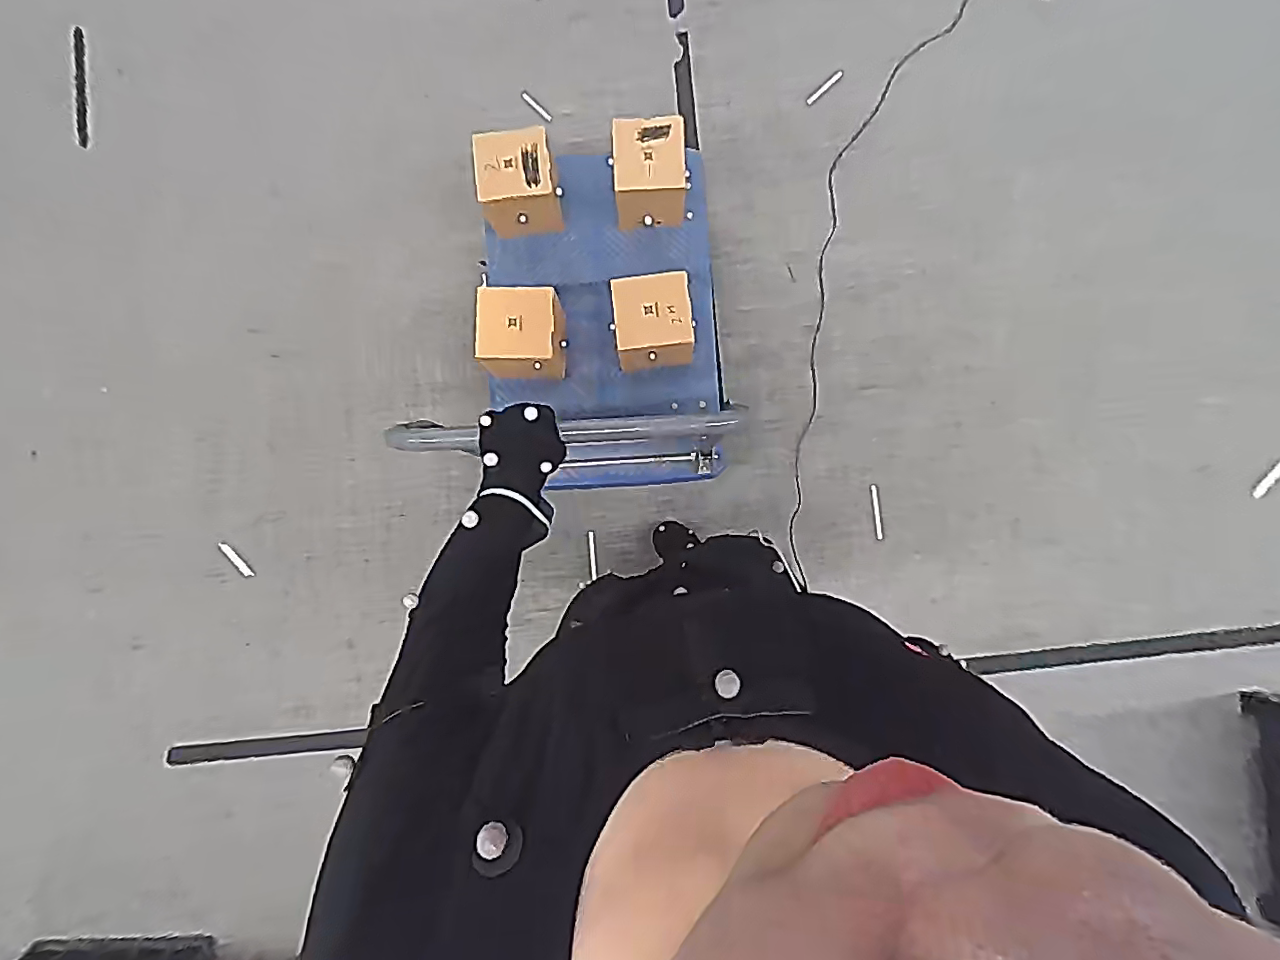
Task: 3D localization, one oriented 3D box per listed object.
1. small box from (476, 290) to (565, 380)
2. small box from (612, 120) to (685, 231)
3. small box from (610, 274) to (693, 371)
[{"bbox_3d":[-0.280,-0.340,1.293,0.179,0.176,0.168,0,85,0],"label":"small box"},{"bbox_3d":[0.019,-0.736,1.318,0.168,0.176,0.179,-2,86,1],"label":"small box"},{"bbox_3d":[0.028,-0.366,1.287,0.179,0.176,0.168,-6,86,1],"label":"small box"}]
